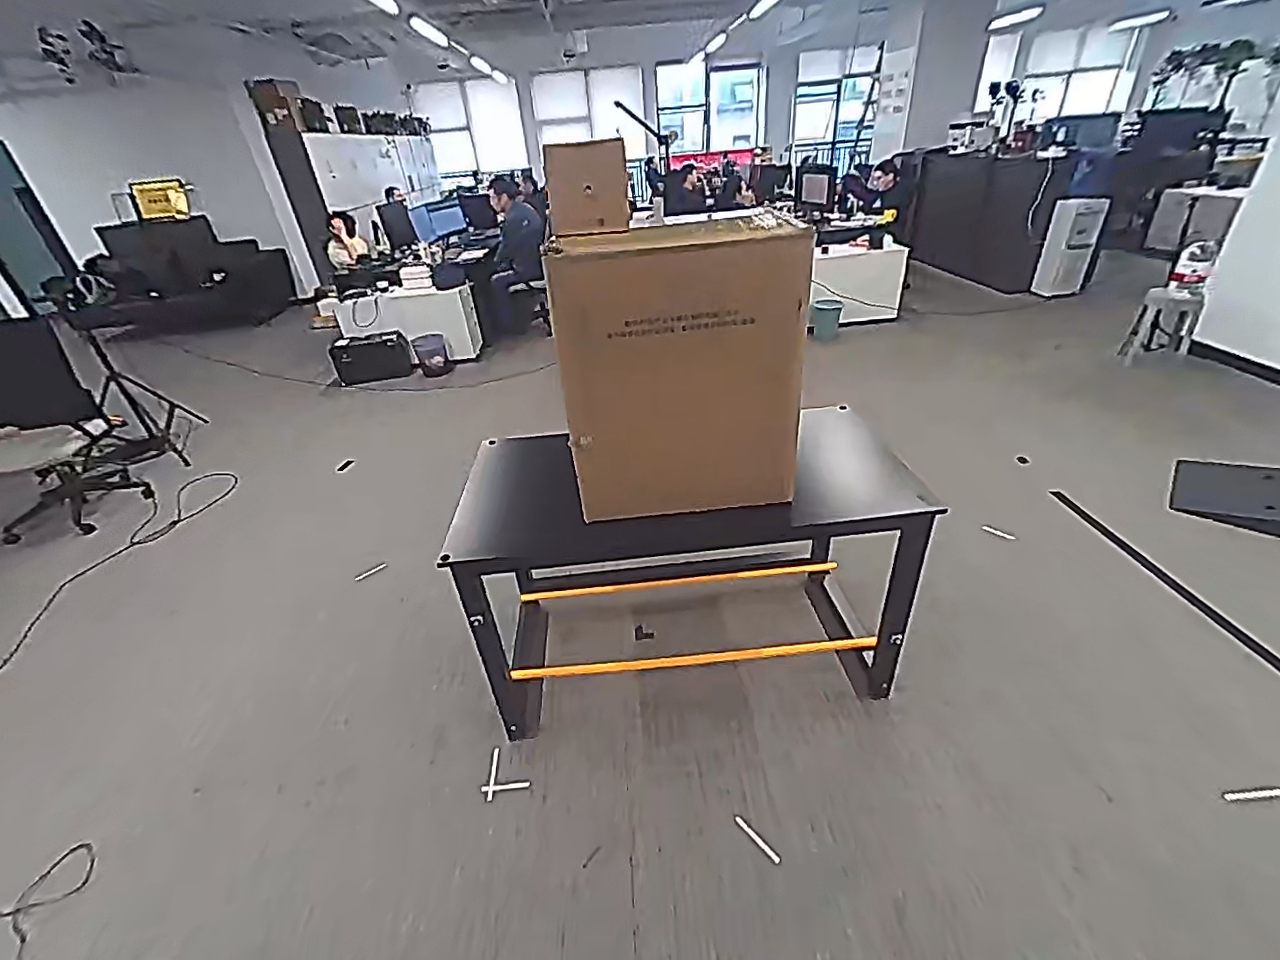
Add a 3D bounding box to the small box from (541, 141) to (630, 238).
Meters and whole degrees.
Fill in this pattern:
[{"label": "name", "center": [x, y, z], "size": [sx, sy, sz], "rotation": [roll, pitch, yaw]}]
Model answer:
[{"label": "small box", "center": [-0.111, -0.628, 1.173], "size": [0.168, 0.176, 0.179], "rotation": [-5, 31, -1]}]
